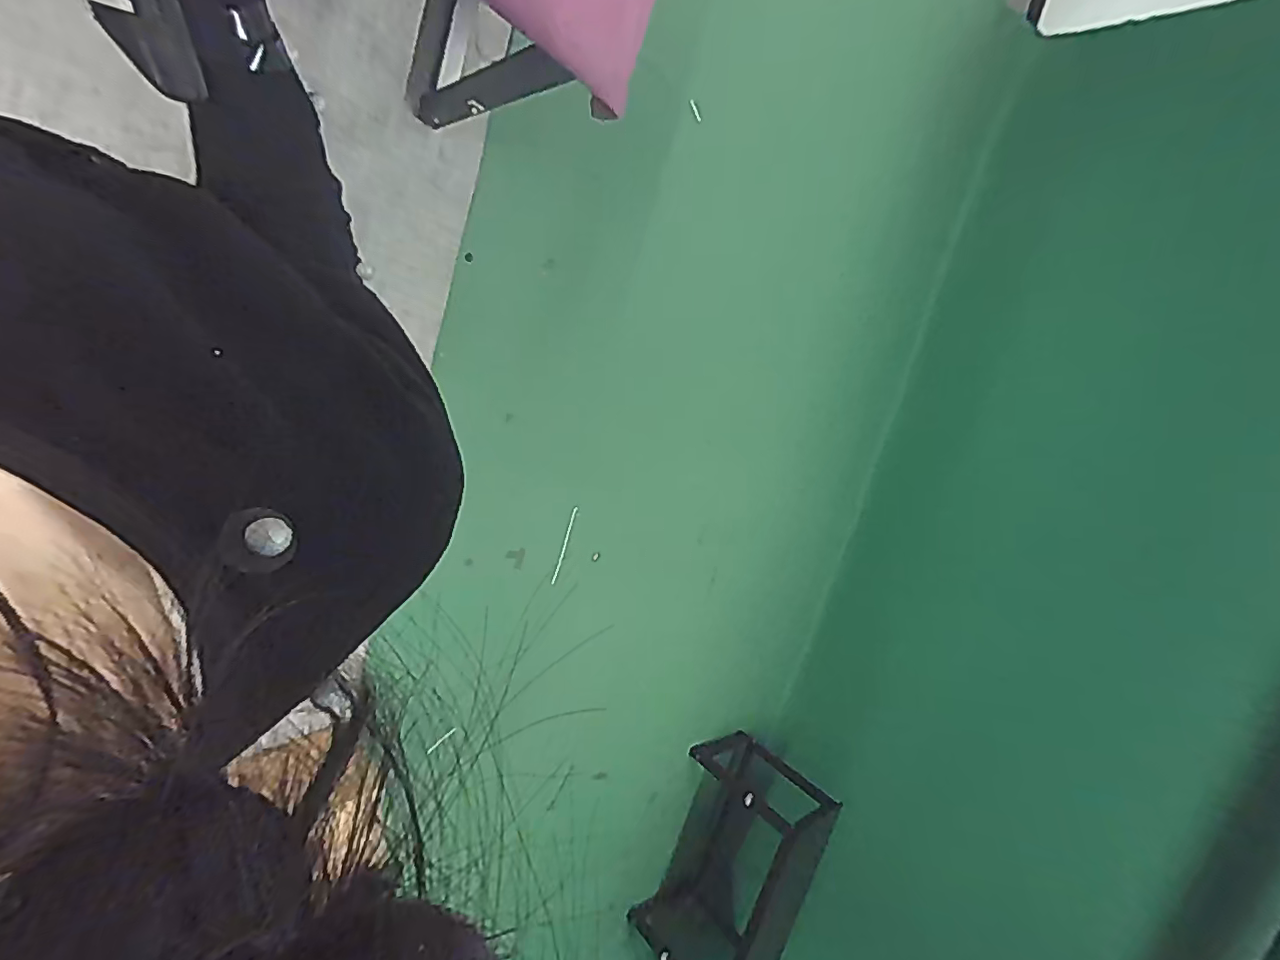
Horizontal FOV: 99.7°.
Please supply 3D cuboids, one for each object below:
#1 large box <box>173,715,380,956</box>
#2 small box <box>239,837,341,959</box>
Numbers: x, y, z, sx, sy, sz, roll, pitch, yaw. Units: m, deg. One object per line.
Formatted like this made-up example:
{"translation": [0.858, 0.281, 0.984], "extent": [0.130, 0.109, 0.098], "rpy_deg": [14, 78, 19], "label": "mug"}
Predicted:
{"translation": [-0.986, 0.936, 1.486], "extent": [0.408, 0.320, 0.320], "rpy_deg": [-11, 116, -43], "label": "large box"}
{"translation": [-0.842, 1.016, 1.302], "extent": [0.179, 0.176, 0.168], "rpy_deg": [-6, 111, -43], "label": "small box"}
